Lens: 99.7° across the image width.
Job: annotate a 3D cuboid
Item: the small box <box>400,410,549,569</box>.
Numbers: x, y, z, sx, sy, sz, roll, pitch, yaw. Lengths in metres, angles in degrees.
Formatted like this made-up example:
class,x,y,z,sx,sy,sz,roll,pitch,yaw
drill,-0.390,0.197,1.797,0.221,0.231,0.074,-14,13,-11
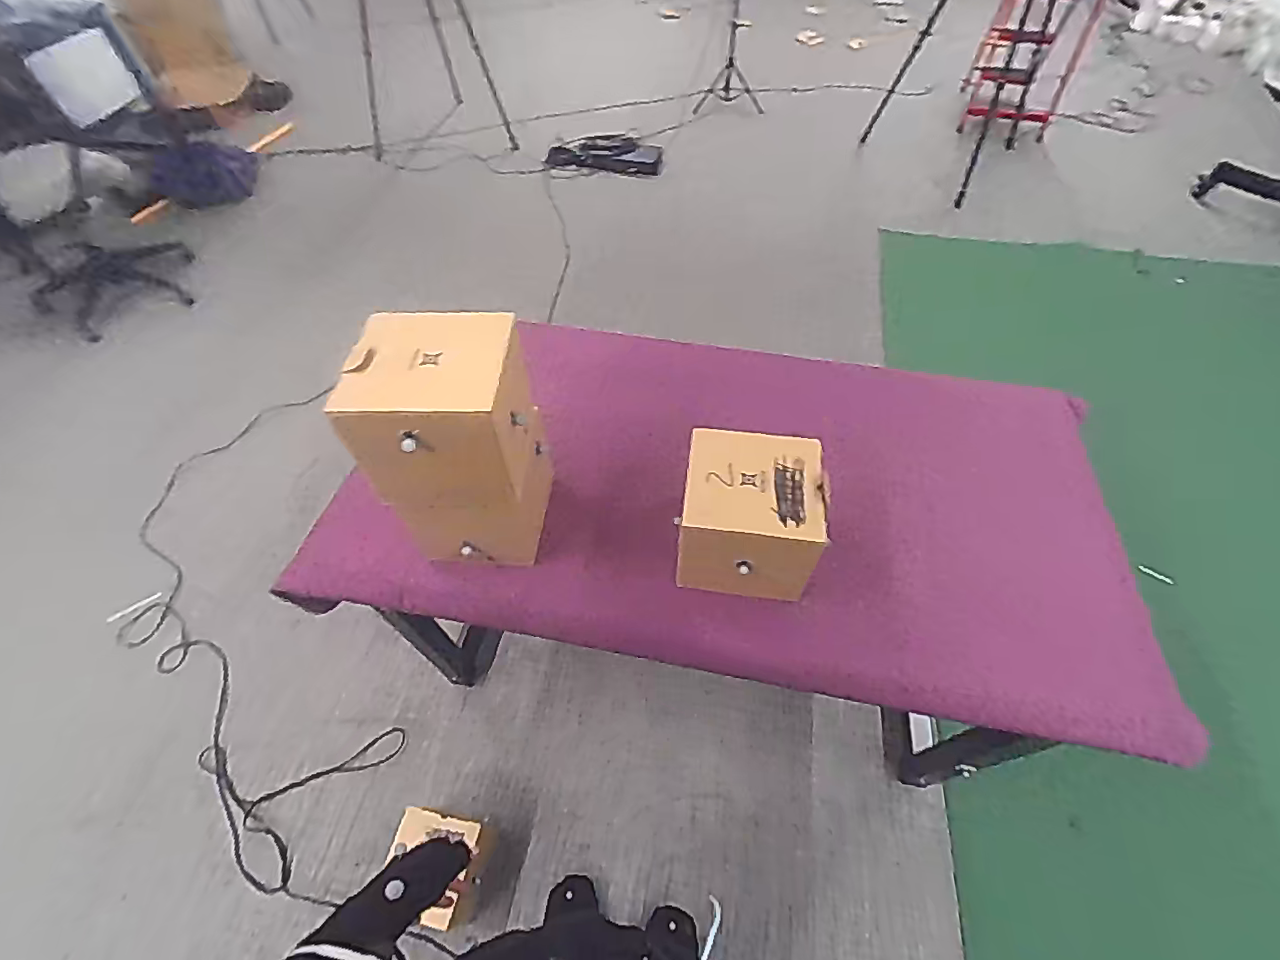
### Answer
class,x,y,z,sx,sy,sz,roll,pitch,yaw
small box,-0.236,0.009,0.800,0.168,0.176,0.179,5,53,3

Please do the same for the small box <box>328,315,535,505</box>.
class,x,y,z,sx,sy,sz,roll,pitch,yaw
small box,-0.233,-0.081,0.663,0.179,0.176,0.168,1,53,0
